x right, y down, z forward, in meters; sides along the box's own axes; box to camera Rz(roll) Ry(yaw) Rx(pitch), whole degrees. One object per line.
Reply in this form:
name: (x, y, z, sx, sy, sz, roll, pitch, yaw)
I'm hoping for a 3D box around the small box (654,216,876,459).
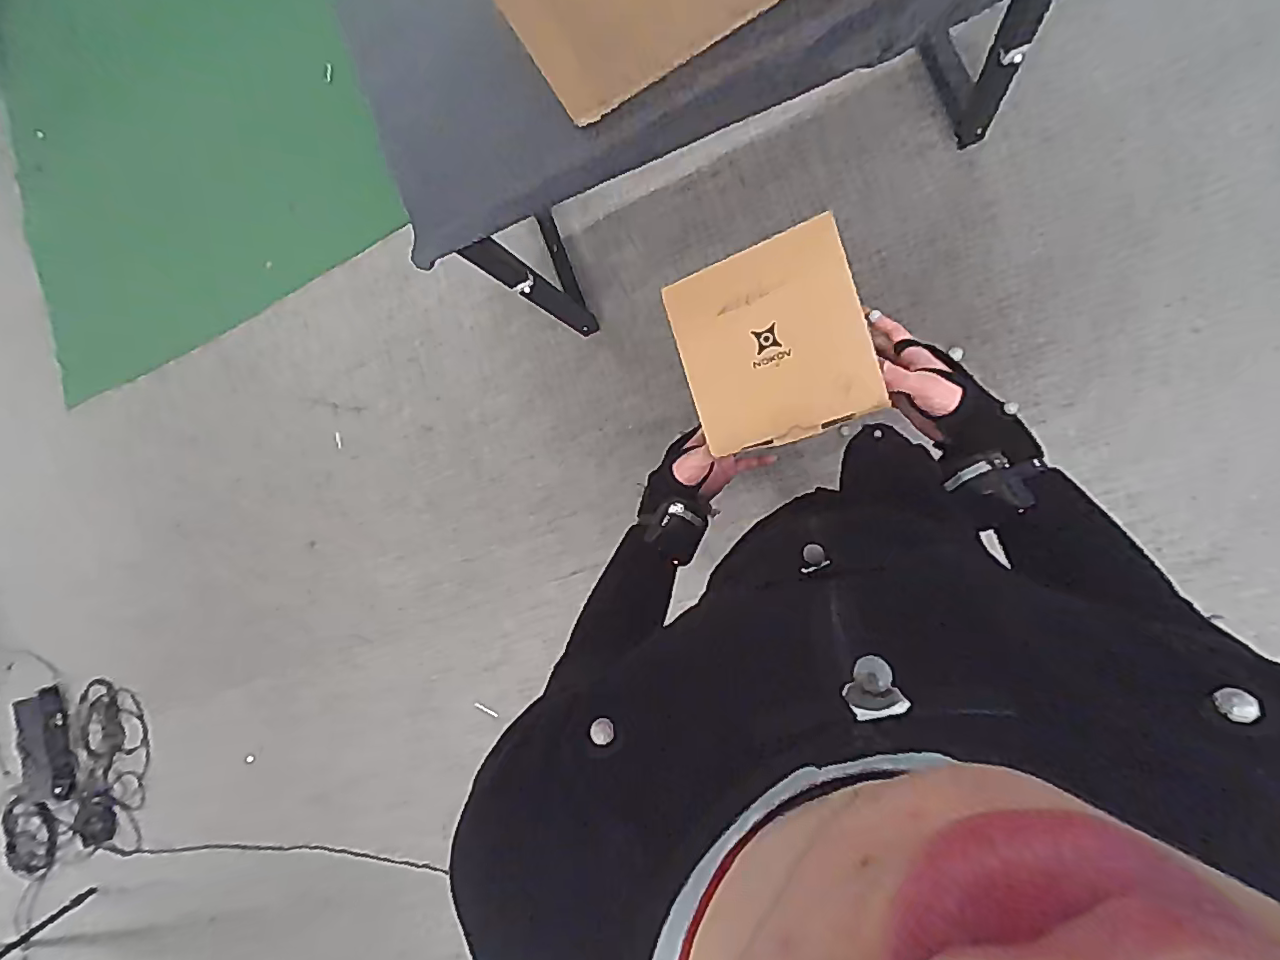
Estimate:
small box: (0.139, -0.131, 0.561, 0.168, 0.176, 0.179, -17, 89, 24)
